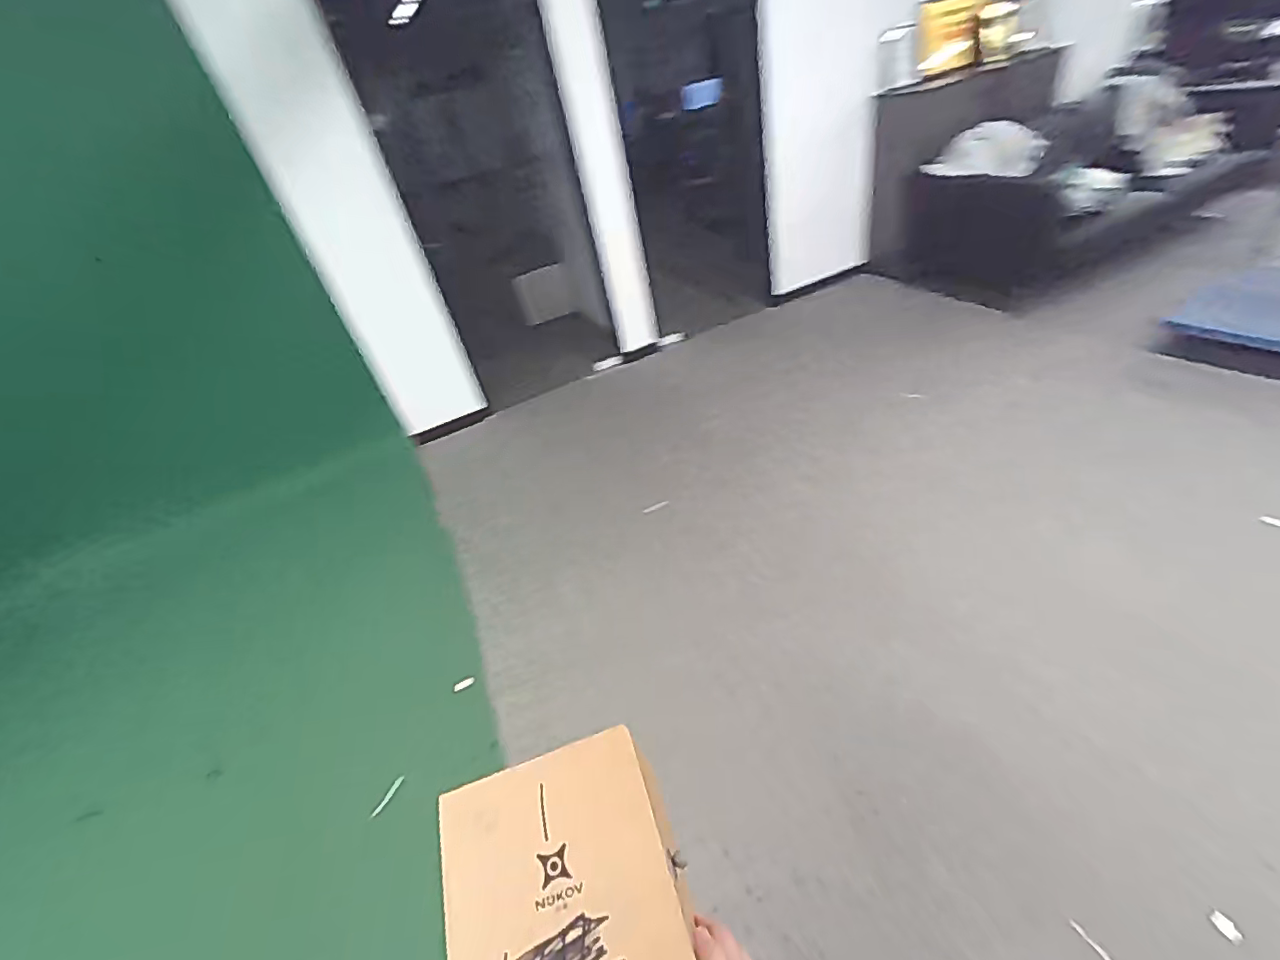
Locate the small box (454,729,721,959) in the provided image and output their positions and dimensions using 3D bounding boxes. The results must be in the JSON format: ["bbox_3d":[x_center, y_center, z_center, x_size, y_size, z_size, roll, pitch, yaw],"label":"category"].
[{"bbox_3d":[-0.039,0.341,0.449,0.168,0.176,0.179,-18,49,-4],"label":"small box"}]
